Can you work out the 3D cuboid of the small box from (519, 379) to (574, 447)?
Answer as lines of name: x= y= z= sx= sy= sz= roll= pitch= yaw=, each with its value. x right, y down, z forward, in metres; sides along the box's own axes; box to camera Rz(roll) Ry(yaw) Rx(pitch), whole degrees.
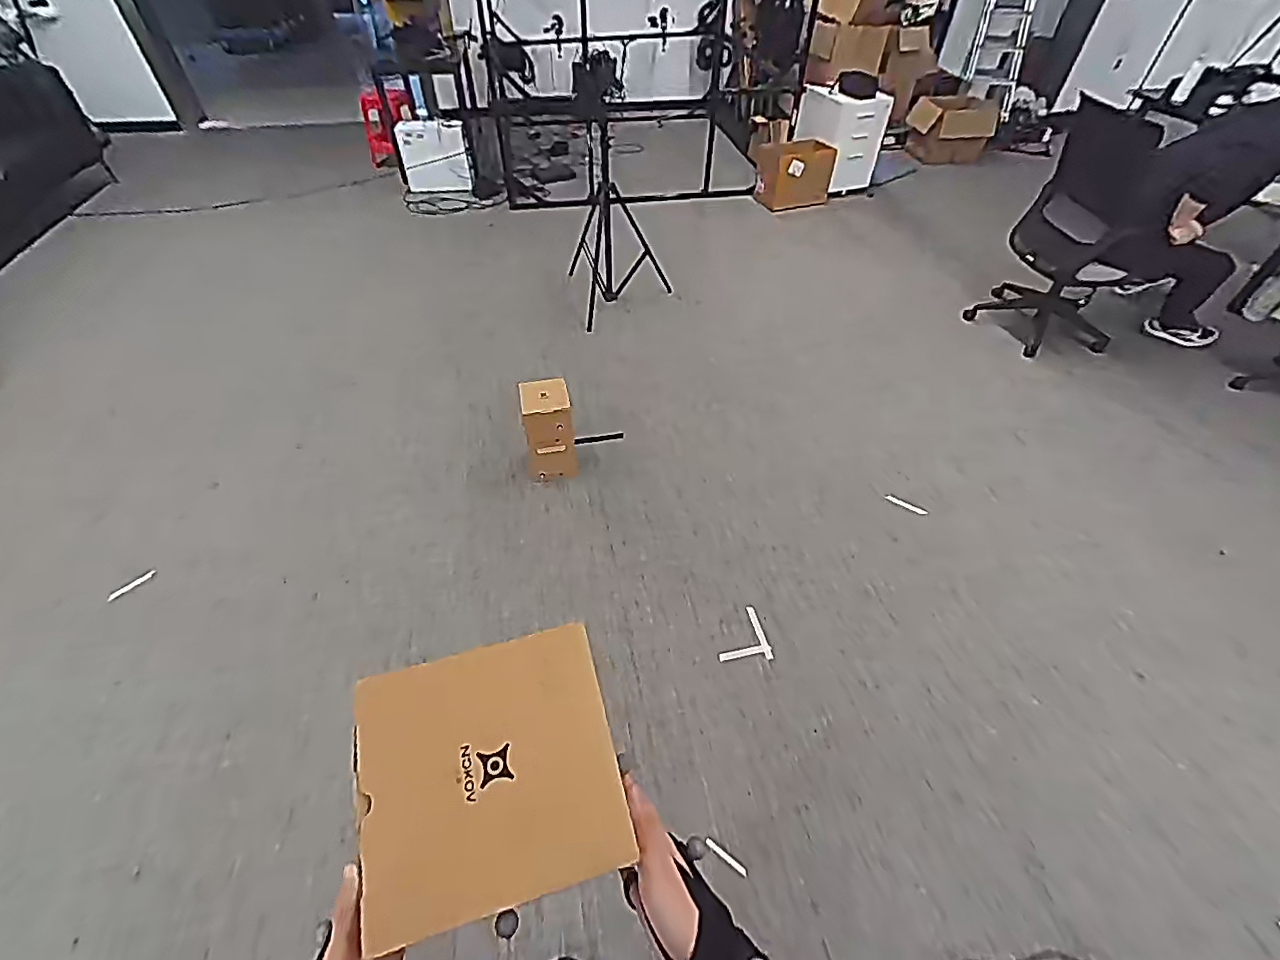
small box: x=-0.331 y=-0.234 z=1.931 sx=0.168 sy=0.176 sz=0.179 roll=-9 pitch=47 yaw=-10

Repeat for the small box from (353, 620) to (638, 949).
small box: x=-0.111 y=0.235 z=0.446 sx=0.179 sy=0.176 sz=0.168 roll=-13 pitch=62 yaw=-11

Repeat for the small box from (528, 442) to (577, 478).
small box: x=-0.334 y=-0.123 z=2.050 sx=0.168 sy=0.176 sz=0.179 roll=-9 pitch=47 yaw=-9
